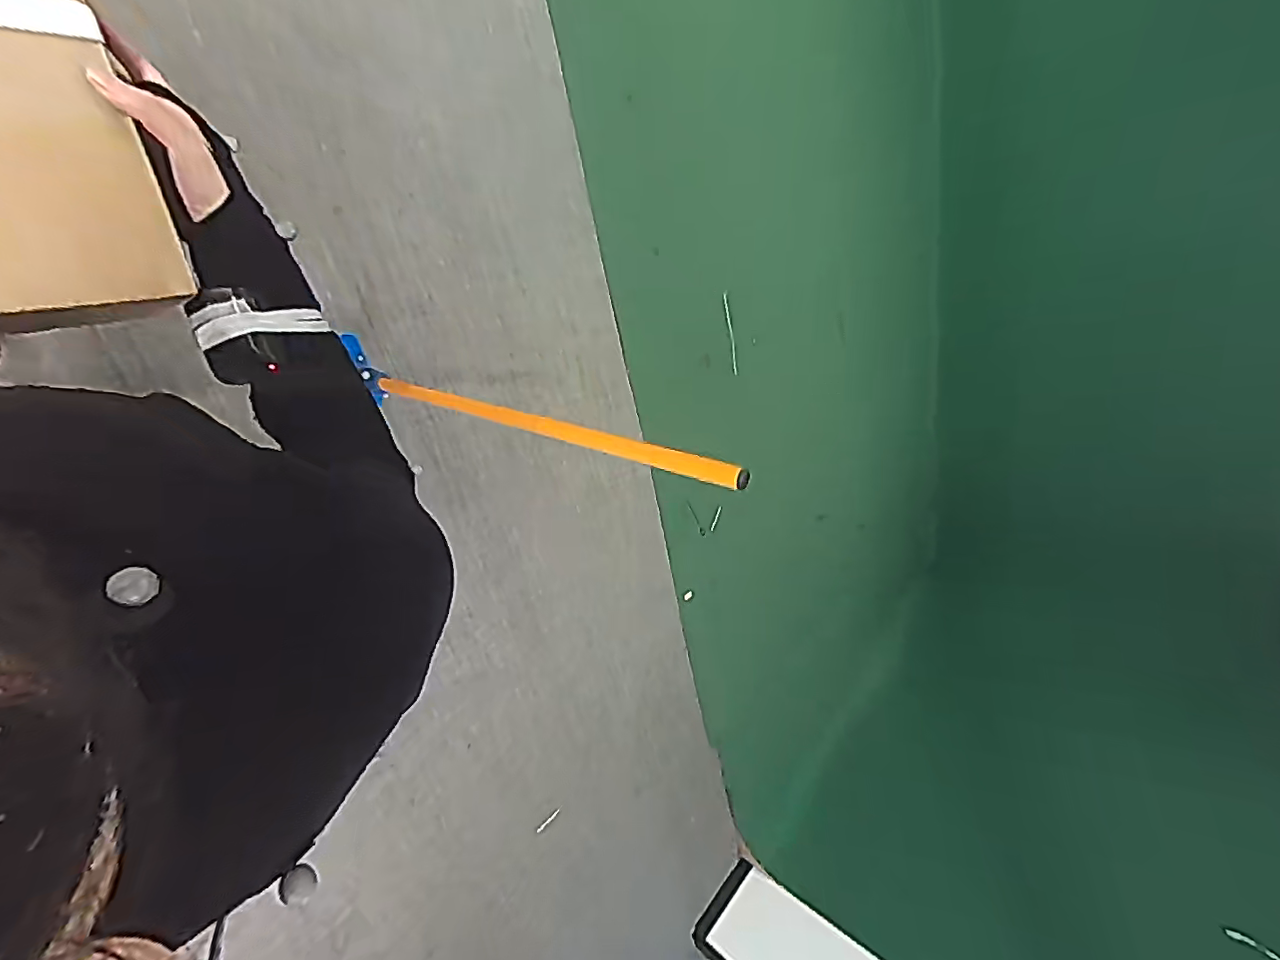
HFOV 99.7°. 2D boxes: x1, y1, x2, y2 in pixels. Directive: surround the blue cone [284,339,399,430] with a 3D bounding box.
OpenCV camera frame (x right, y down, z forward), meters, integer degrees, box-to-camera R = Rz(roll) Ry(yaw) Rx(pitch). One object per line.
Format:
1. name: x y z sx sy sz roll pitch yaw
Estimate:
1. blue cone: -0.629 -0.214 1.224 0.192 0.380 0.193 -34 121 -35
